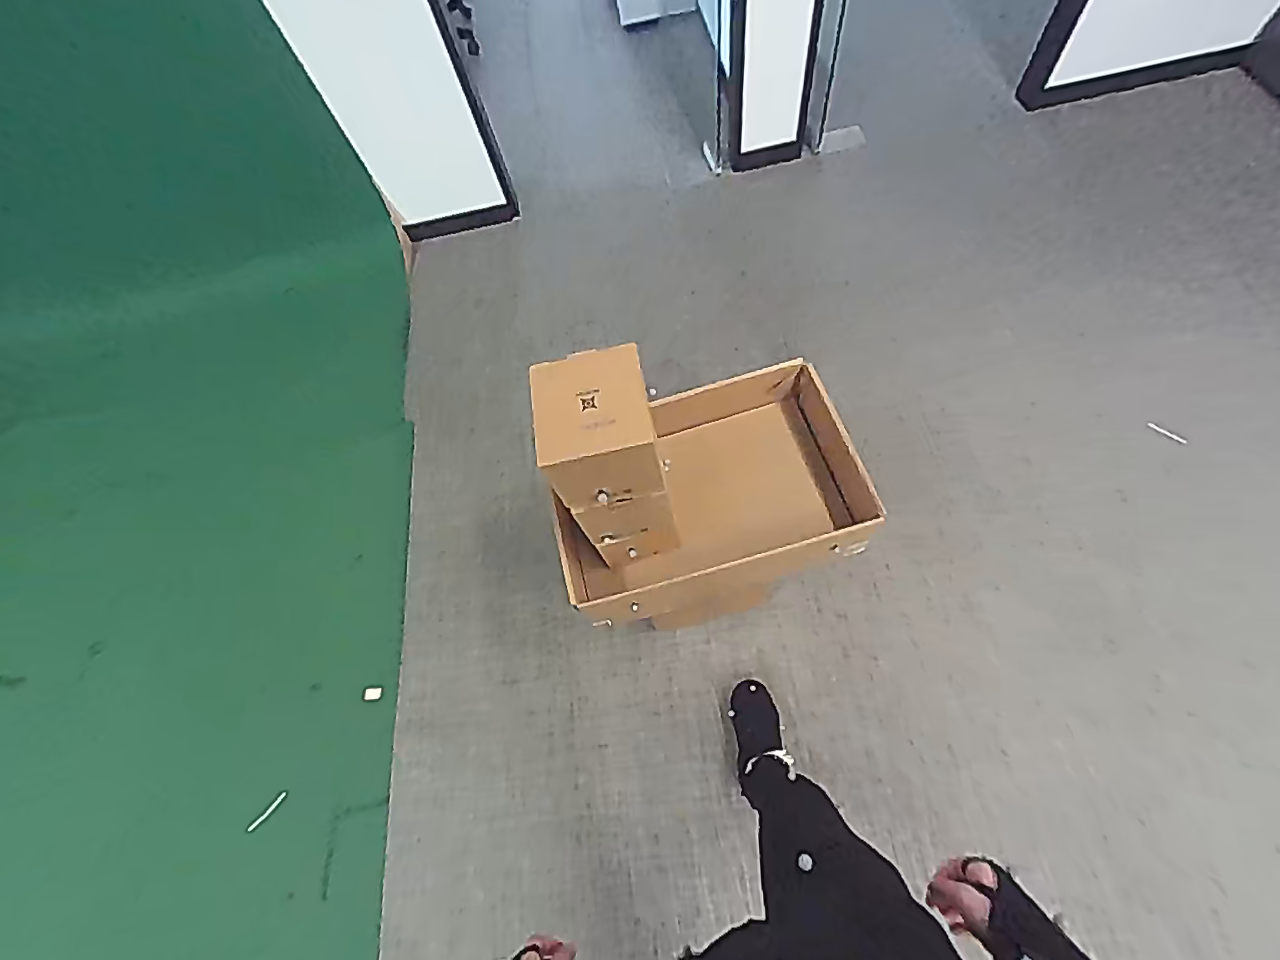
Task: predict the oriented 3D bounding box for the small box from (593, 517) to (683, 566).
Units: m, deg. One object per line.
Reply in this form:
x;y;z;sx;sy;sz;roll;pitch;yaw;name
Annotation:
-0.013;0.066;1.117;0.168;0.176;0.179;-16;63;1;small box

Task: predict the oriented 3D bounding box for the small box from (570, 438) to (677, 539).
-0.033;-0.005;0.971;0.168;0.176;0.179;-12;63;2;small box

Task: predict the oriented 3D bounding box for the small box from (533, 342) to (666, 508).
-0.058;-0.077;0.826;0.168;0.176;0.179;-11;64;4;small box
